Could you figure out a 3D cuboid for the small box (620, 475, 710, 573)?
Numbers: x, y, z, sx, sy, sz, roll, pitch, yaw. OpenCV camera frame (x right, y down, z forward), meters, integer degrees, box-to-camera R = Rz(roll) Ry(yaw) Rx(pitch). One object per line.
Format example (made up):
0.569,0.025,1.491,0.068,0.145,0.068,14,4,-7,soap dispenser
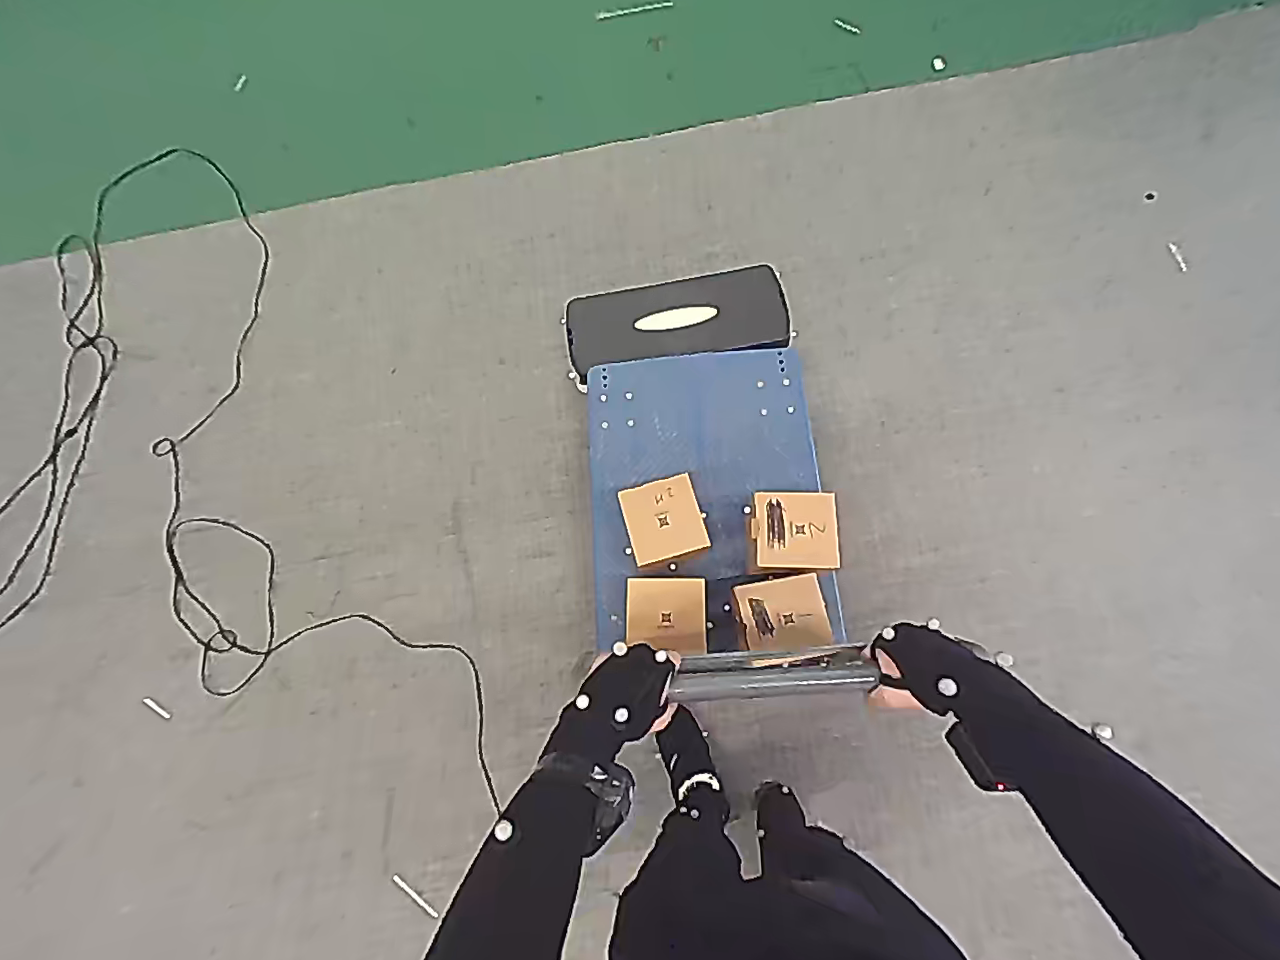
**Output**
0.058,0.110,1.255,0.168,0.176,0.179,-15,72,-2,small box

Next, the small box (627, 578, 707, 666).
0.059,0.316,1.192,0.168,0.176,0.179,0,73,2,small box
